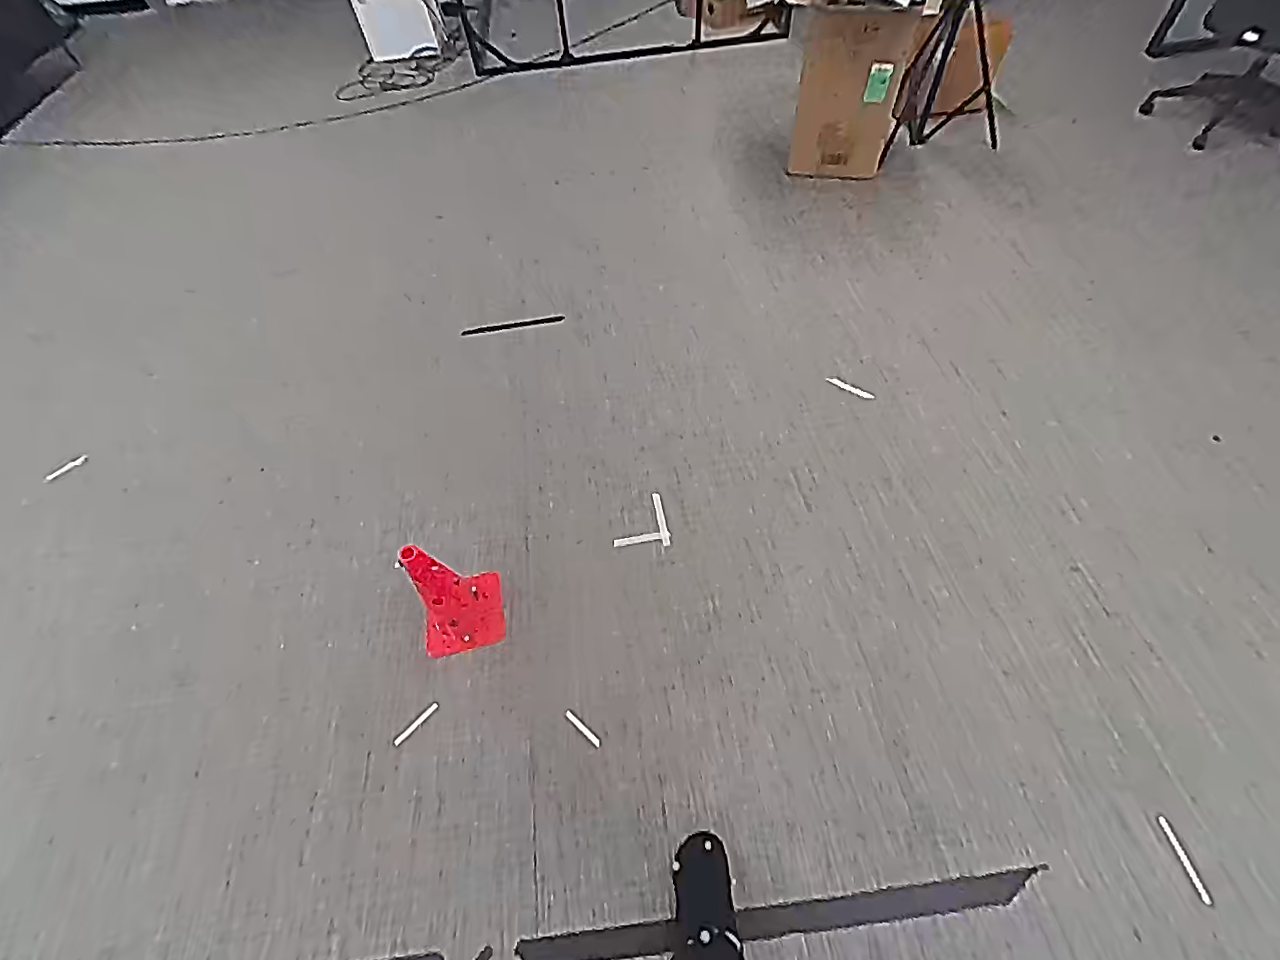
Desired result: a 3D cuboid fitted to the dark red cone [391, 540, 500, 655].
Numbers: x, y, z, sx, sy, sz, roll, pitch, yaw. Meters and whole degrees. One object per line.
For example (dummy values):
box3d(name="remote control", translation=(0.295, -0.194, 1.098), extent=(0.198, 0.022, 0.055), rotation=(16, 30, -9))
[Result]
box3d(name="dark red cone", translation=(-0.474, 0.244, 1.248), extent=(0.202, 0.394, 0.201), rotation=(-14, 57, -5))
